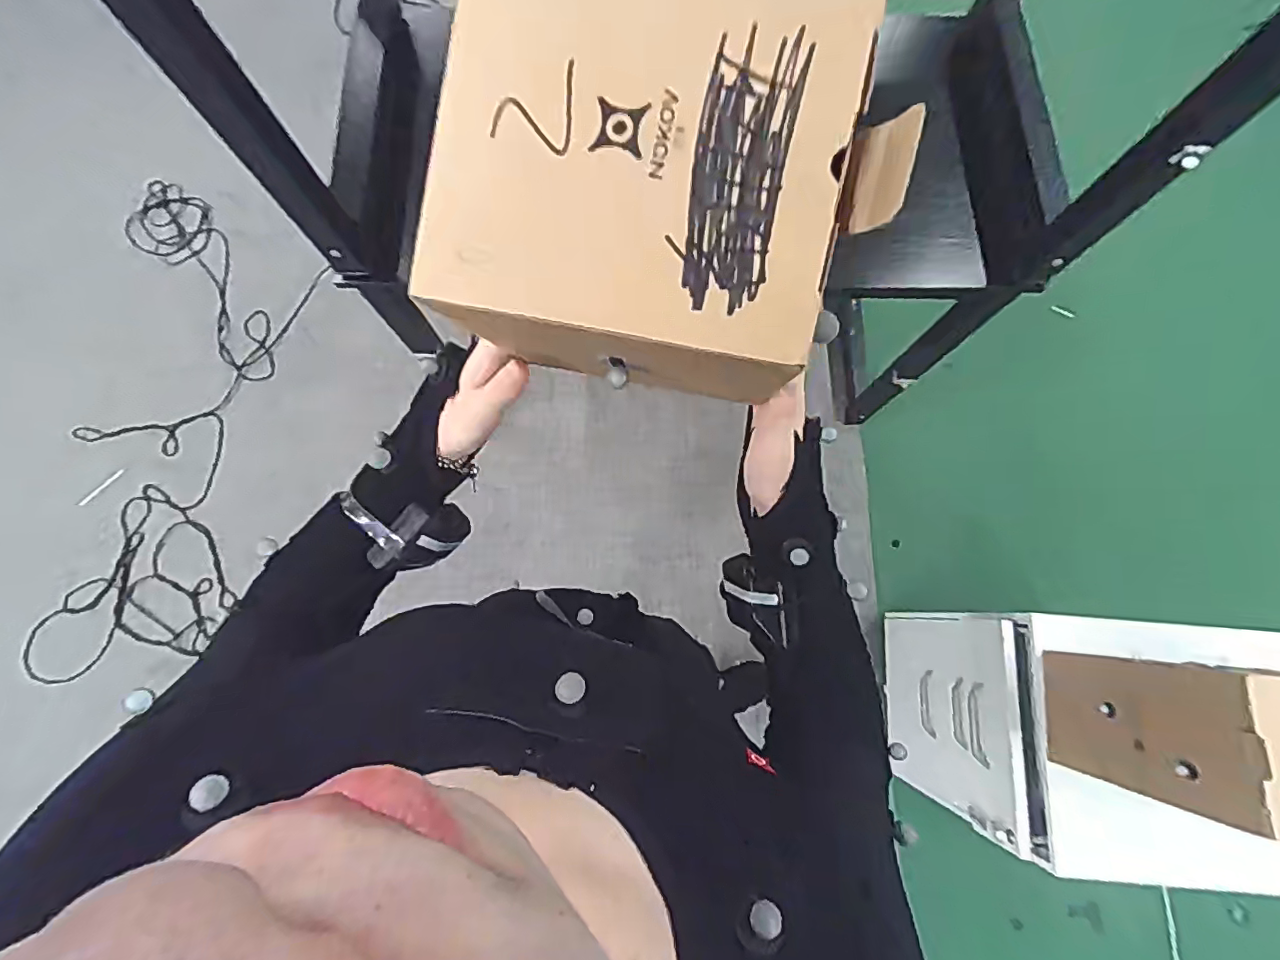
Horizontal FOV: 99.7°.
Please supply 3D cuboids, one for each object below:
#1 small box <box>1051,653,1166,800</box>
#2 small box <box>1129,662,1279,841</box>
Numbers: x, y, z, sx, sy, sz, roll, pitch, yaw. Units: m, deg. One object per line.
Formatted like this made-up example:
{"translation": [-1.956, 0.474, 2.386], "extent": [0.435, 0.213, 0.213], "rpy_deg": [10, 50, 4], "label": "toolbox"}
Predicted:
{"translation": [0.747, 0.357, 0.796], "extent": [0.168, 0.176, 0.179], "rpy_deg": [7, 77, 1], "label": "small box"}
{"translation": [0.732, 0.313, 0.640], "extent": [0.179, 0.176, 0.168], "rpy_deg": [4, 78, -1], "label": "small box"}
